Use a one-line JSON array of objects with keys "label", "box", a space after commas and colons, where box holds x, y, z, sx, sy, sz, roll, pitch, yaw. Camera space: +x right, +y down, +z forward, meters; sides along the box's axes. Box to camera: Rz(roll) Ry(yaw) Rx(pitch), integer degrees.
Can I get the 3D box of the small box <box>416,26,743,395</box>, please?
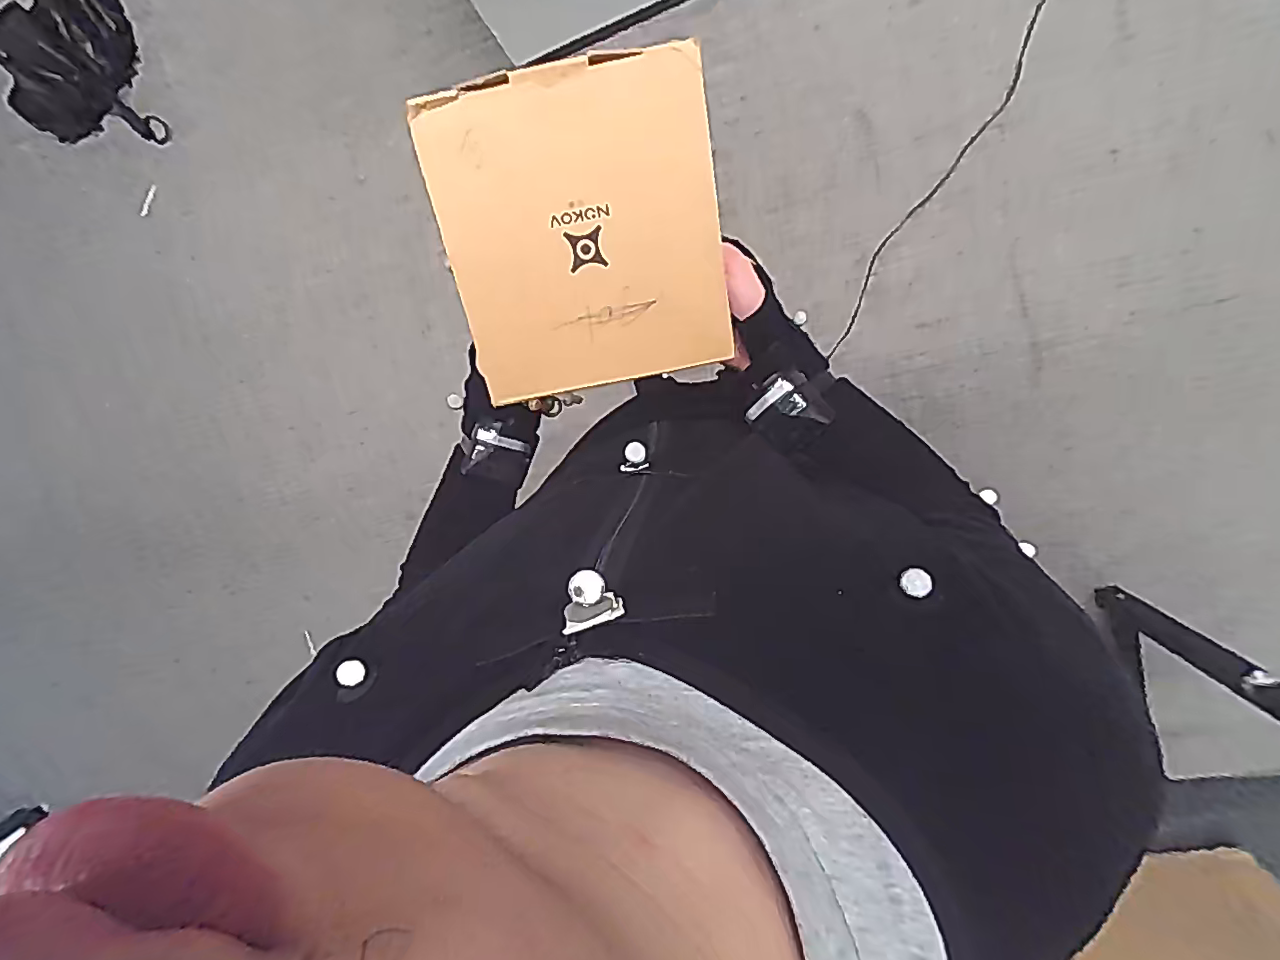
[{"label": "small box", "box": [-0.031, -0.178, 0.394, 0.168, 0.176, 0.179, -11, 113, 3]}]
